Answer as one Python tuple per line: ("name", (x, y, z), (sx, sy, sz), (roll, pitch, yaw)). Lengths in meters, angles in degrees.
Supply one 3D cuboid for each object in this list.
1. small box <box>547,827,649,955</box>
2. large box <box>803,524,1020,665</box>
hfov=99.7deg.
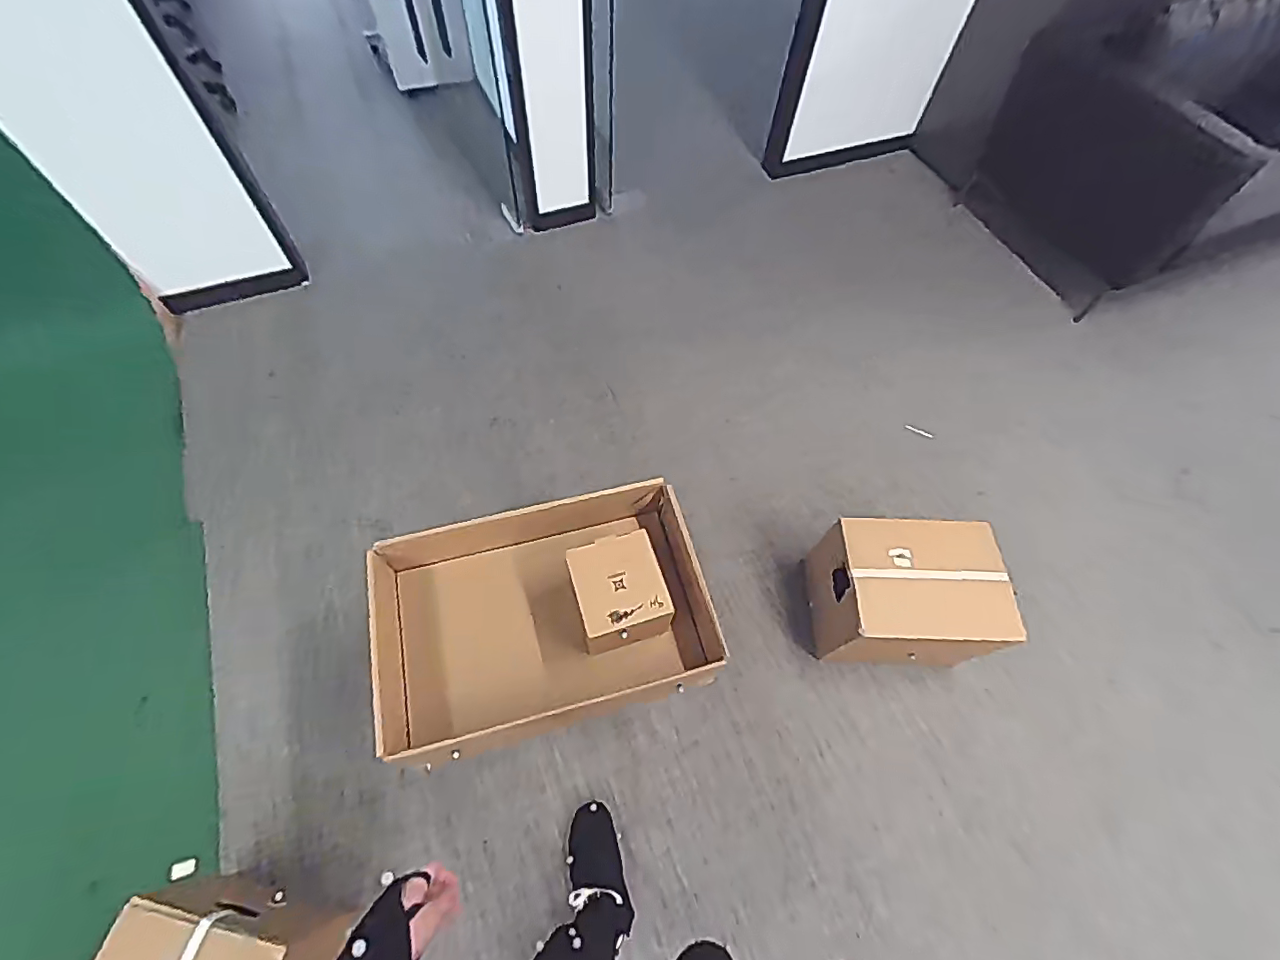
("small box", (-0.090, 0.908, 1.213), (0.168, 0.176, 0.179), (19, 59, 11))
("large box", (0.702, 0.323, 1.474), (0.408, 0.320, 0.320), (2, 61, -2))
